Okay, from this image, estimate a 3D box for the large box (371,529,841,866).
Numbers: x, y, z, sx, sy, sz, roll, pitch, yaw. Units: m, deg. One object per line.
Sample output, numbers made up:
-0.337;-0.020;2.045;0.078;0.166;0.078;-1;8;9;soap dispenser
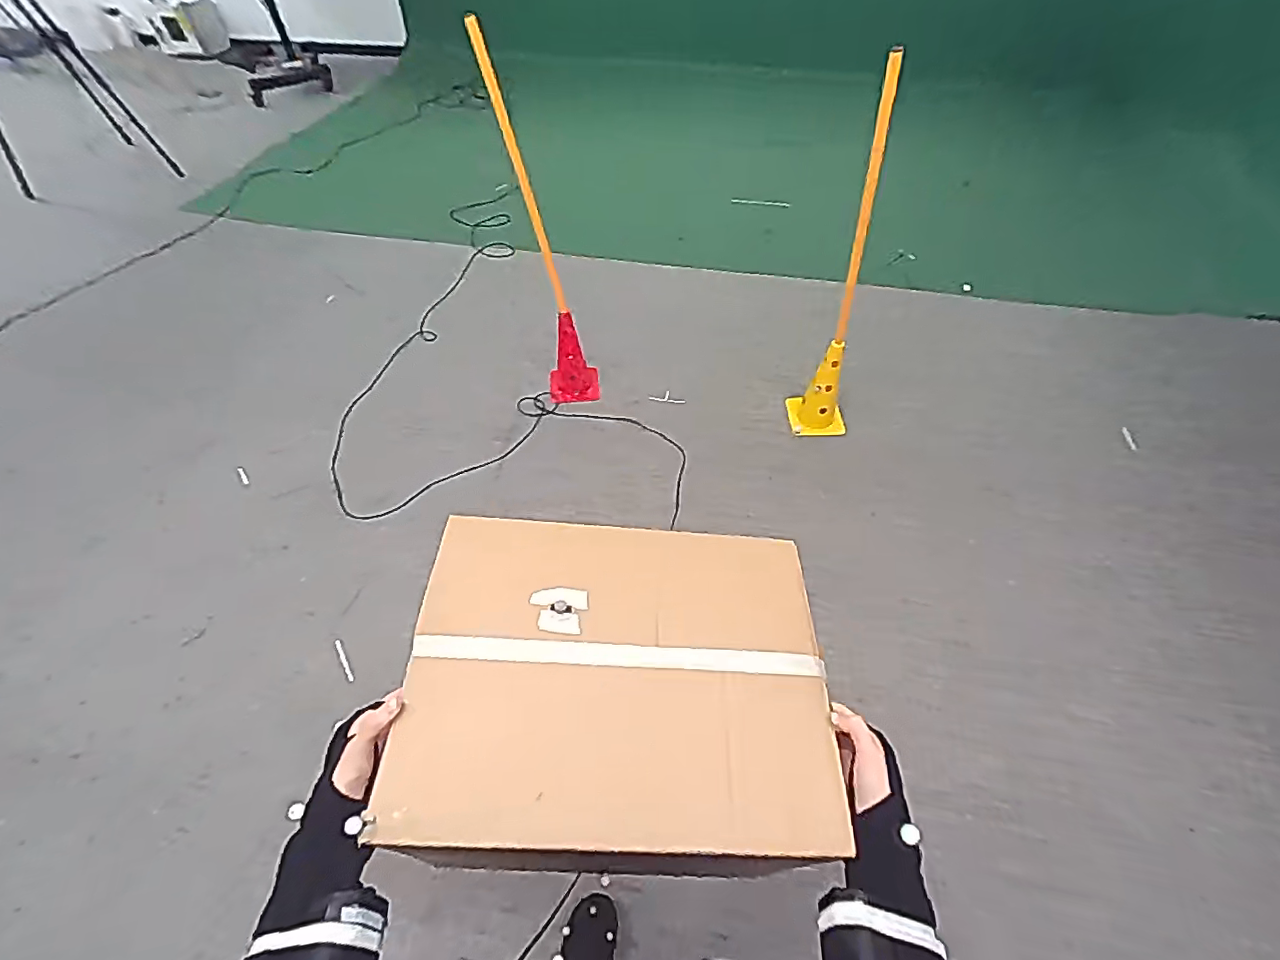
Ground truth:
-0.034;0.278;0.659;0.408;0.320;0.320;4;51;-4;large box
